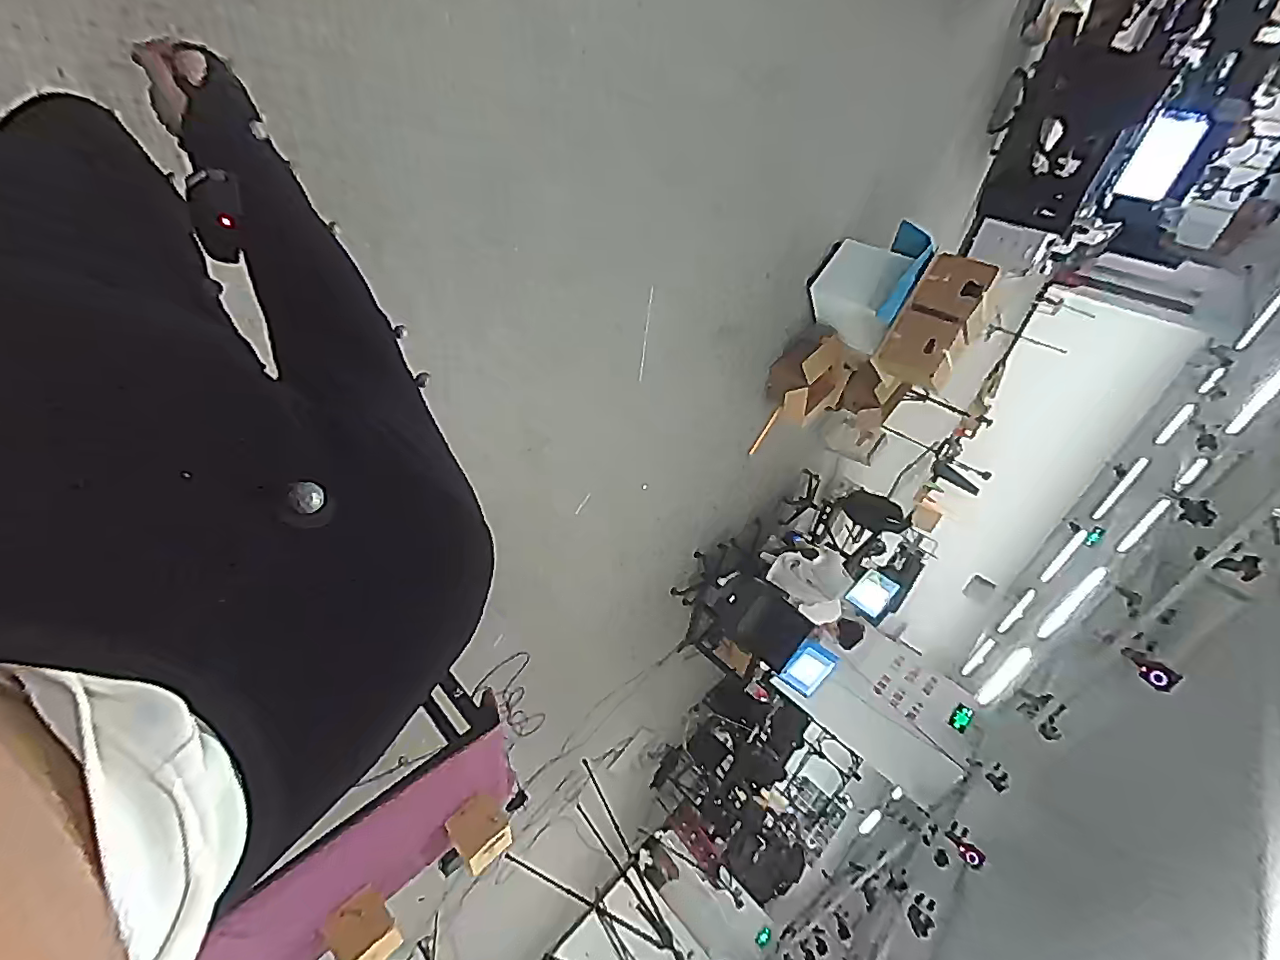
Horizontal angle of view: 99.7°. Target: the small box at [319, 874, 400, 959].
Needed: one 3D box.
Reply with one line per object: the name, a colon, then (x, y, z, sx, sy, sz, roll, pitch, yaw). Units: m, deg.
small box: (-0.911, 1.438, 1.759, 0.168, 0.176, 0.179, -28, 141, -37)
